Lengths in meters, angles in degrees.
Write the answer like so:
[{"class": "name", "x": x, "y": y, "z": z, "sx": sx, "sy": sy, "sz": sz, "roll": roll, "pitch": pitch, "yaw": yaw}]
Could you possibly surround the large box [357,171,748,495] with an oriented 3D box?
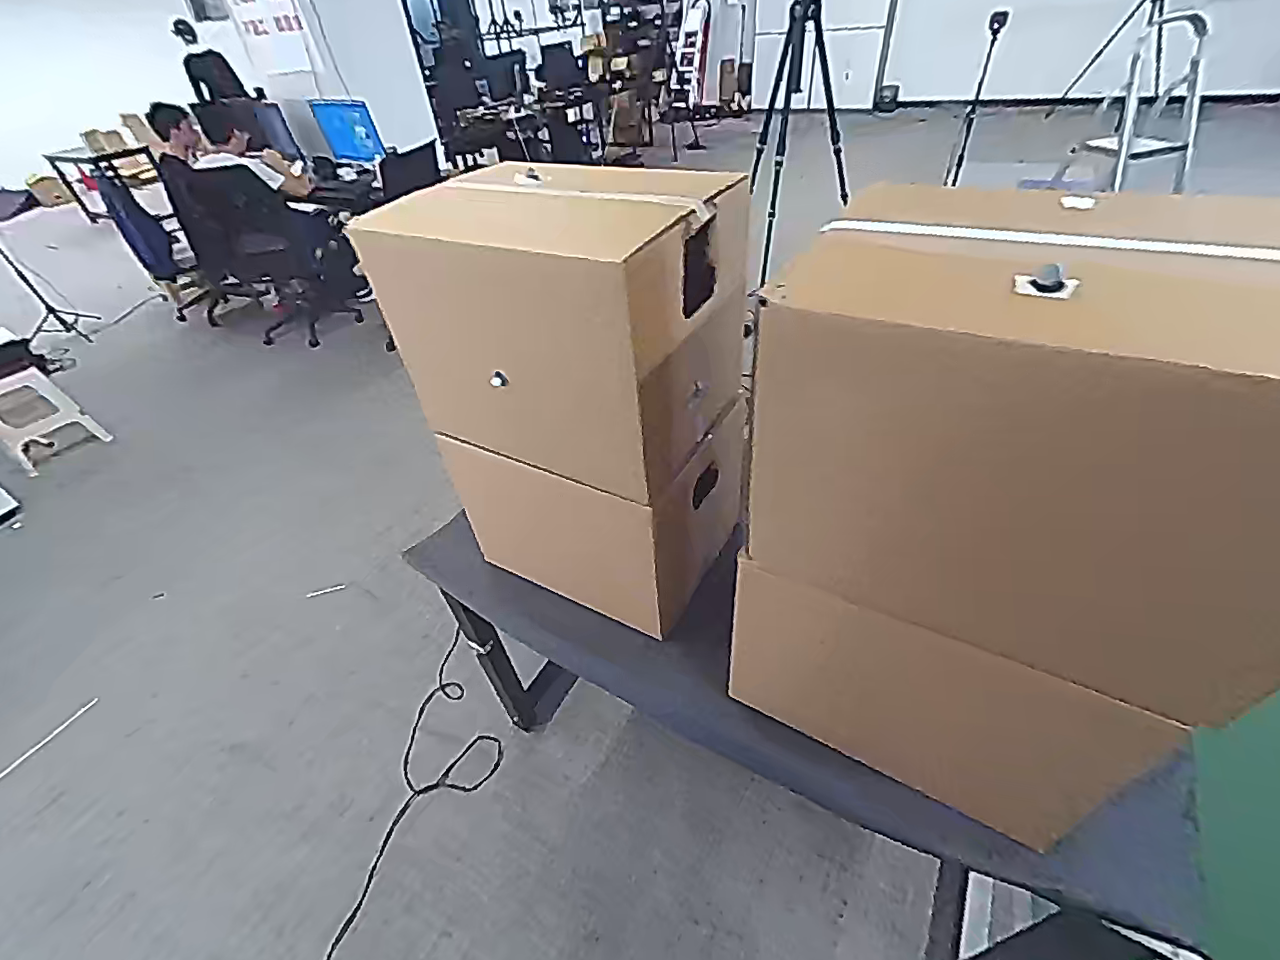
[{"class": "large box", "x": -0.089, "y": -0.228, "z": 0.771, "sx": 0.408, "sy": 0.320, "sz": 0.320, "roll": 18, "pitch": 46, "yaw": 26}]
